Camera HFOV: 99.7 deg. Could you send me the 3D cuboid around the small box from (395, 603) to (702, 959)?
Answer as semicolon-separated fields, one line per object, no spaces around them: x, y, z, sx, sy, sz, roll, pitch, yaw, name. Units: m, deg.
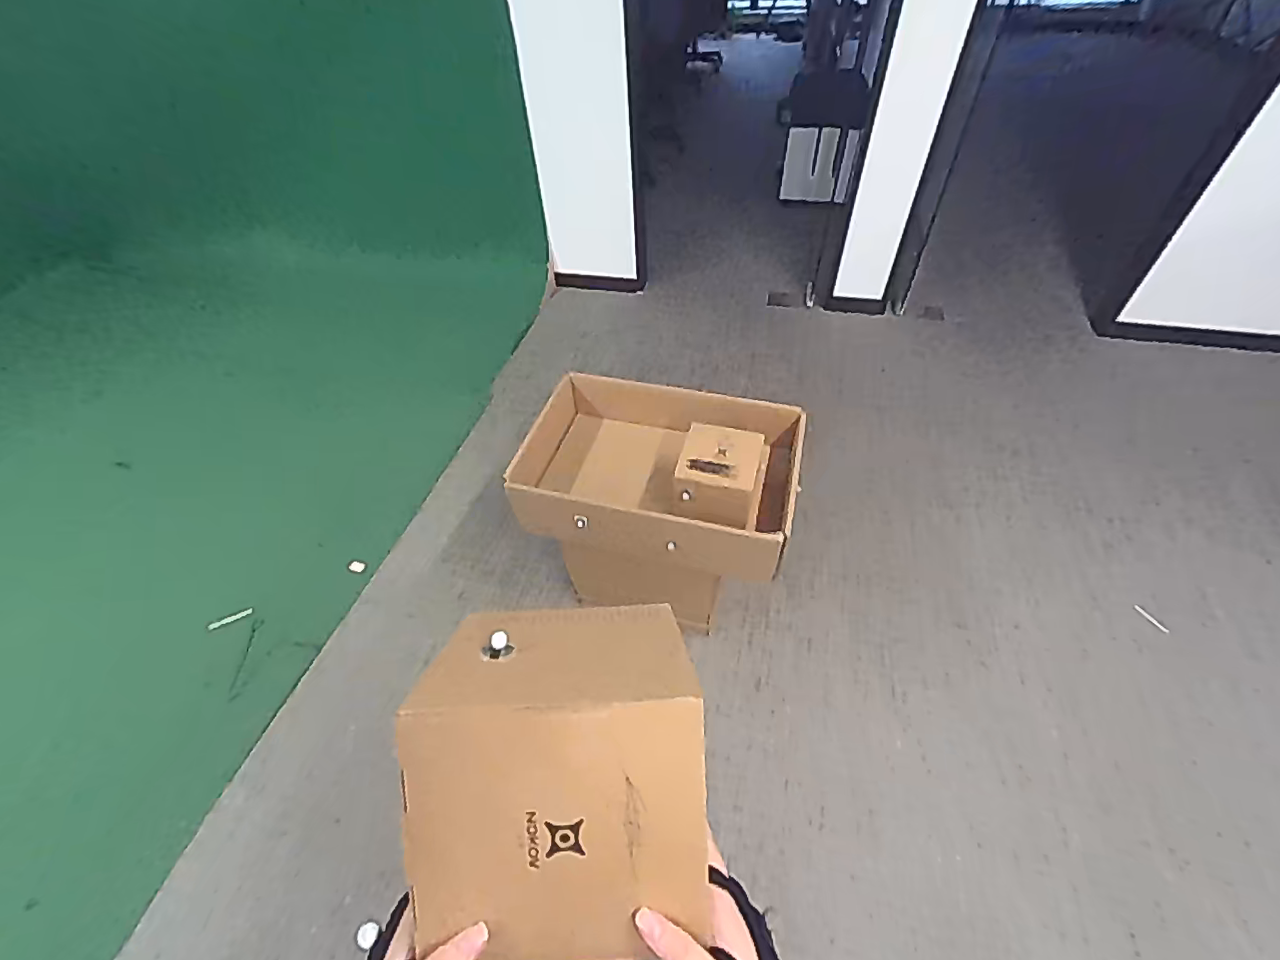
-0.054;0.196;0.394;0.179;0.168;0.176;-2;5;-3;small box
